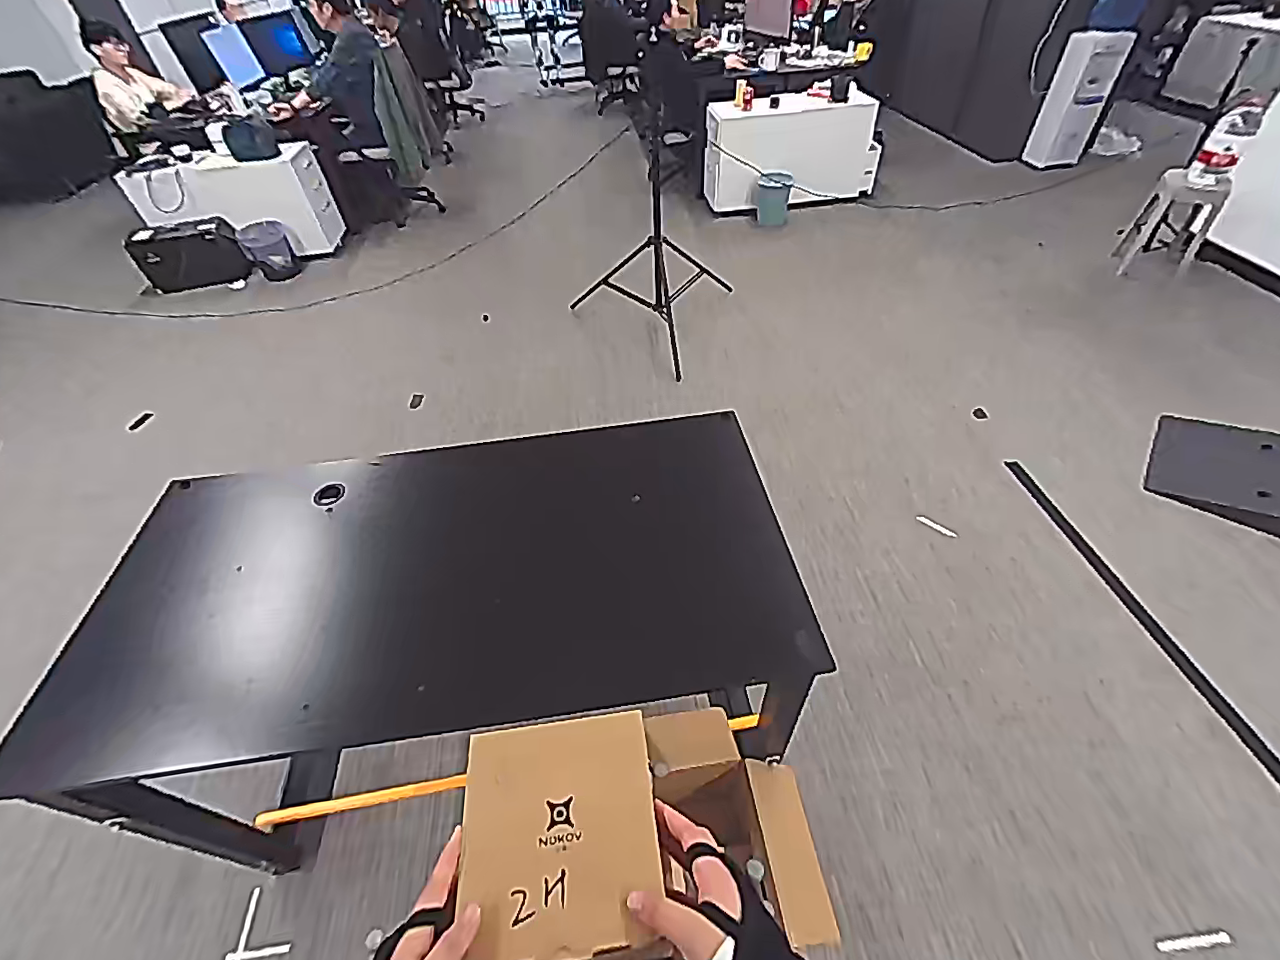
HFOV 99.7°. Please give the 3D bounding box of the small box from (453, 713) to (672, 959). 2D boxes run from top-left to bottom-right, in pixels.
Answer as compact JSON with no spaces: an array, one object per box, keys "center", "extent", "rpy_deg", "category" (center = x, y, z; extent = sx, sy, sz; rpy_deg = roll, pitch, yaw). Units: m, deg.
[{"center":[-0.065,0.350,0.515],"extent":[0.168,0.176,0.179],"rpy_deg":[-8,47,-3],"category":"small box"}]
